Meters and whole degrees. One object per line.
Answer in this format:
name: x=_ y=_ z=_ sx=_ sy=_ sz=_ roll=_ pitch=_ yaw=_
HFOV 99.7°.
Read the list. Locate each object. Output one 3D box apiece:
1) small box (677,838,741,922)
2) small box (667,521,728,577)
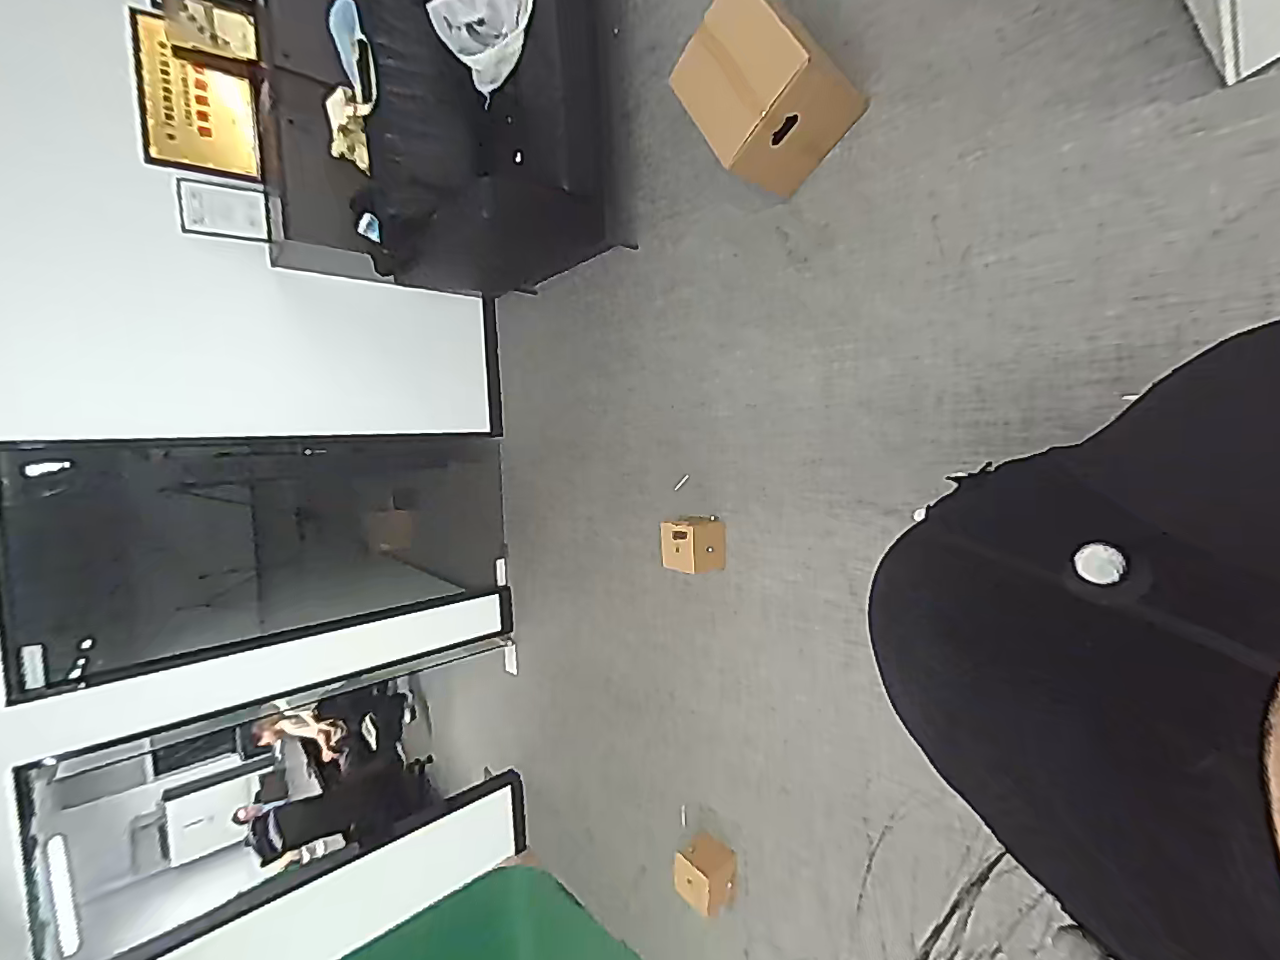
small box: x=0.263 y=1.518 z=2.071 sx=0.179 sy=0.176 sz=0.168 roll=10 pitch=102 yaw=48
small box: x=0.215 y=0.249 z=2.012 sx=0.168 sy=0.176 sz=0.179 roll=3 pitch=97 yaw=49
